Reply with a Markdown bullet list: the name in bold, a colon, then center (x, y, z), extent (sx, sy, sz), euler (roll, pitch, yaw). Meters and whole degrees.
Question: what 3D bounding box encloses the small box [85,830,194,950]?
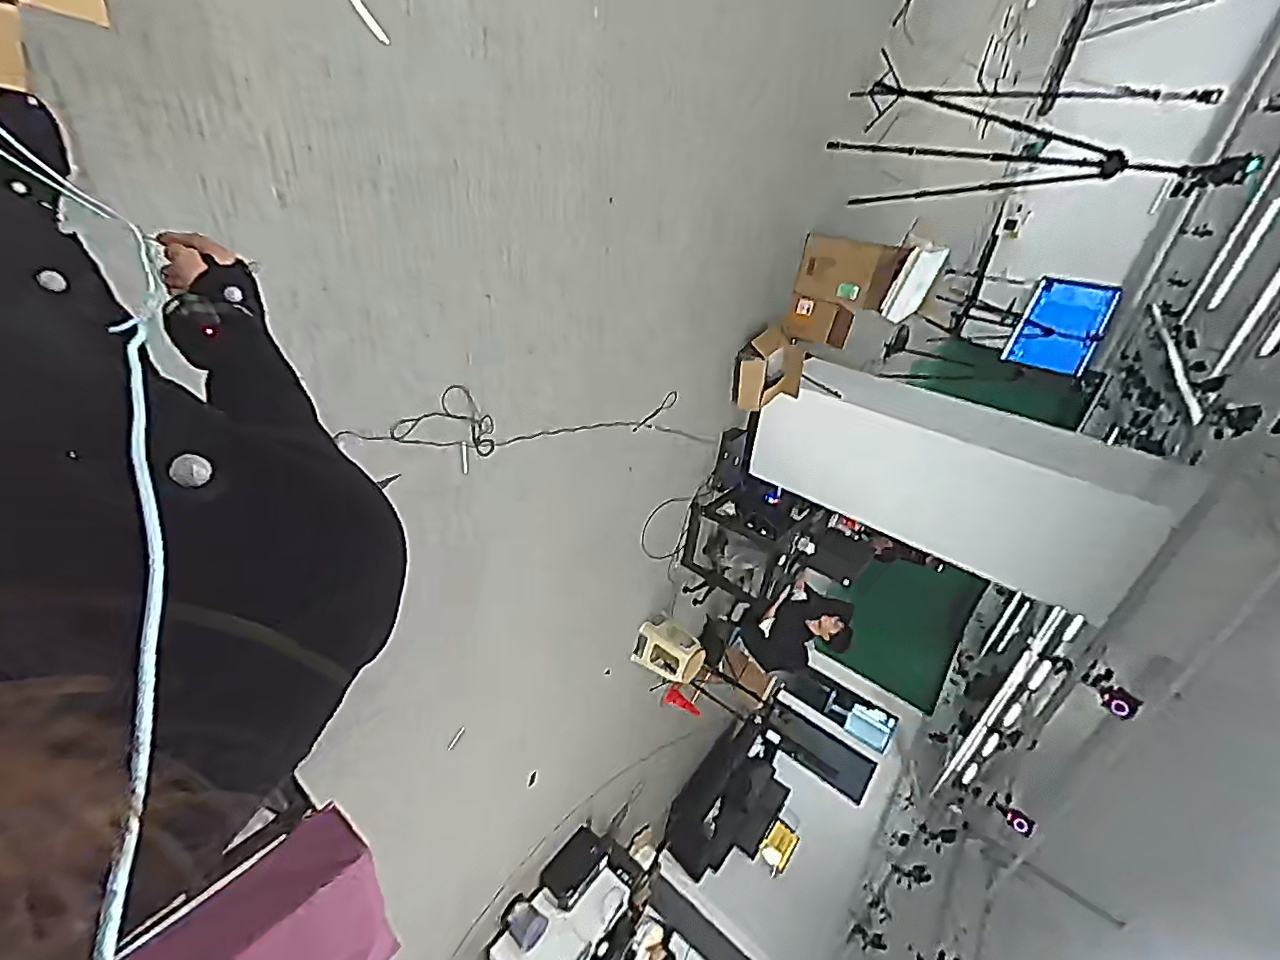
- **small box**: center (-1.422, 1.154, 1.533), extent (0.179, 0.176, 0.168), euler (-30, 136, -43)
